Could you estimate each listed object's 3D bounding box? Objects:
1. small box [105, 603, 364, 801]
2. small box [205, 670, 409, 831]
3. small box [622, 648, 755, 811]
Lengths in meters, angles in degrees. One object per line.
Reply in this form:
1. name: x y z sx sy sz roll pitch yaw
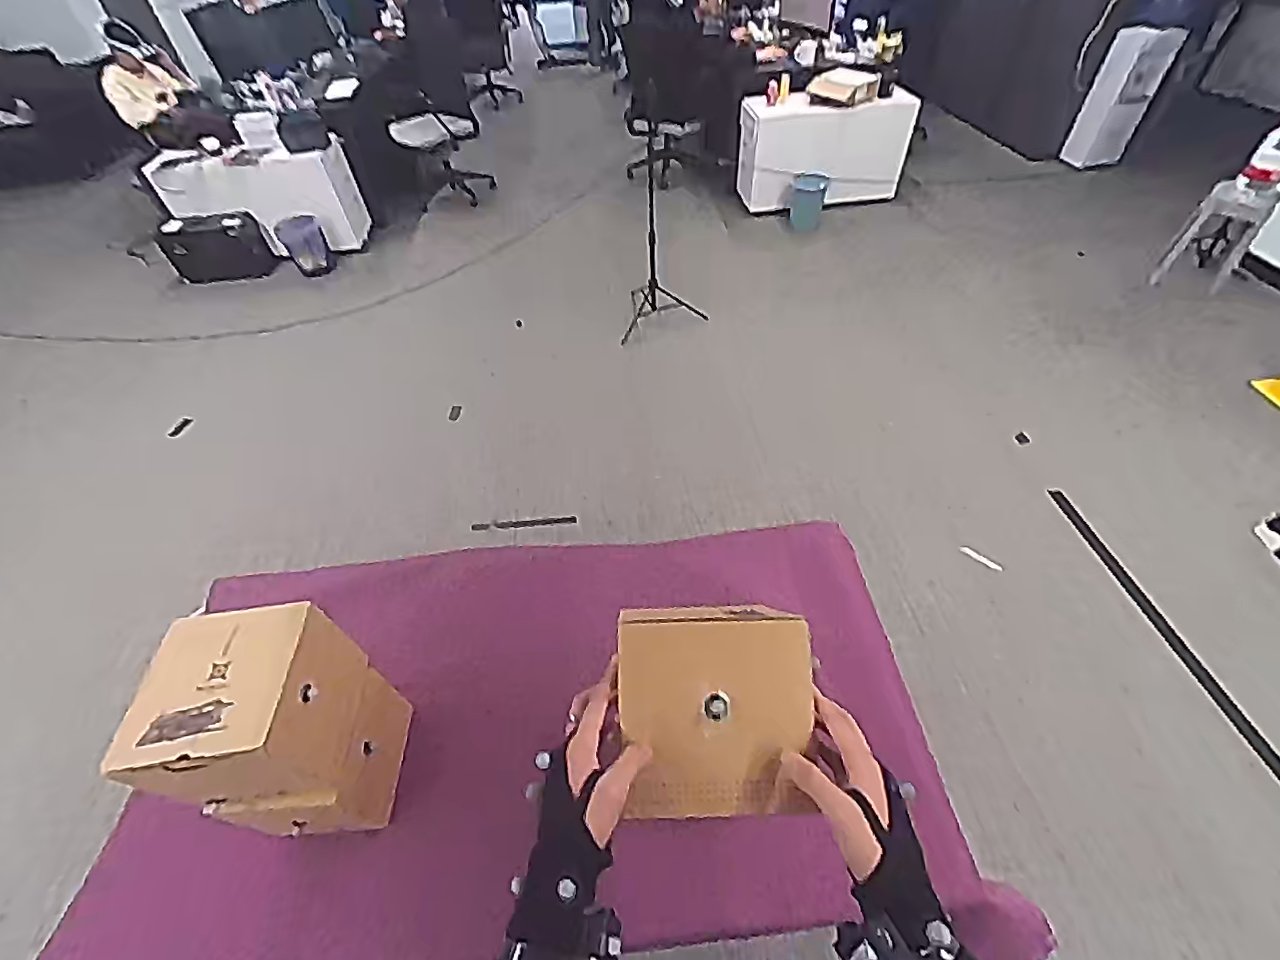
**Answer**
1. small box: -0.467 0.277 0.664 0.168 0.176 0.179 -7 48 -3
2. small box: -0.455 0.394 0.779 0.168 0.176 0.179 -3 48 0
3. small box: 0.064 0.363 0.778 0.168 0.176 0.179 -4 48 1
